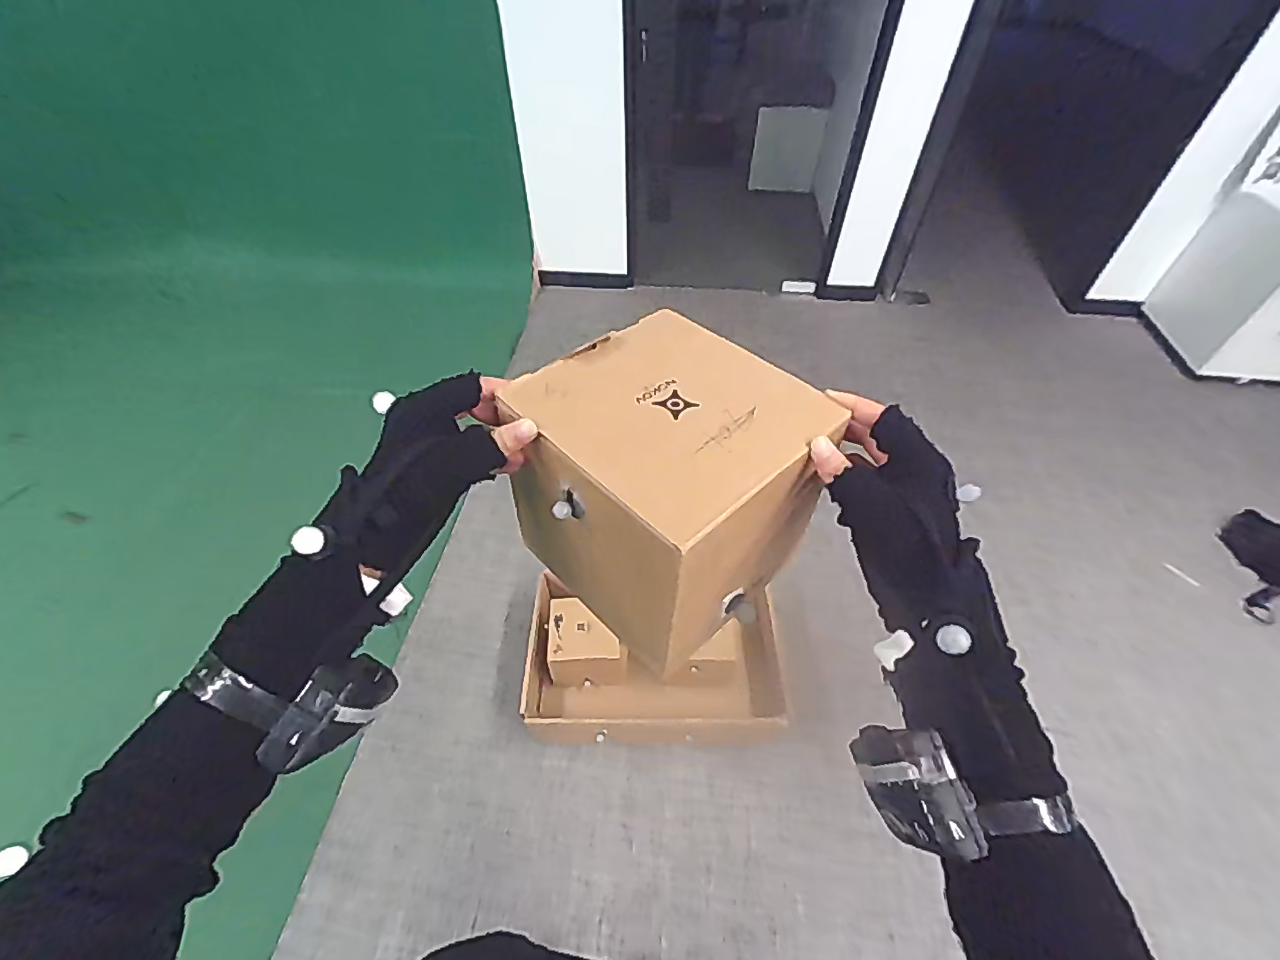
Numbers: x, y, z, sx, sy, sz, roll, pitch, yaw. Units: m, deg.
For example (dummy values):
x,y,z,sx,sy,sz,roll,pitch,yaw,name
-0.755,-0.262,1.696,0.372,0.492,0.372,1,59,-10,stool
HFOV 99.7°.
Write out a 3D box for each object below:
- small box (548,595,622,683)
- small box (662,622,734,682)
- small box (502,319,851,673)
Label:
x,y,z,sx,sy,sz,roll,pitch,yaw,name
-0.138,0.411,1.393,0.179,0.176,0.168,-1,49,-3,small box
0.143,0.410,1.394,0.179,0.176,0.168,1,50,2,small box
0.019,0.009,0.414,0.168,0.176,0.179,-34,57,-29,small box
